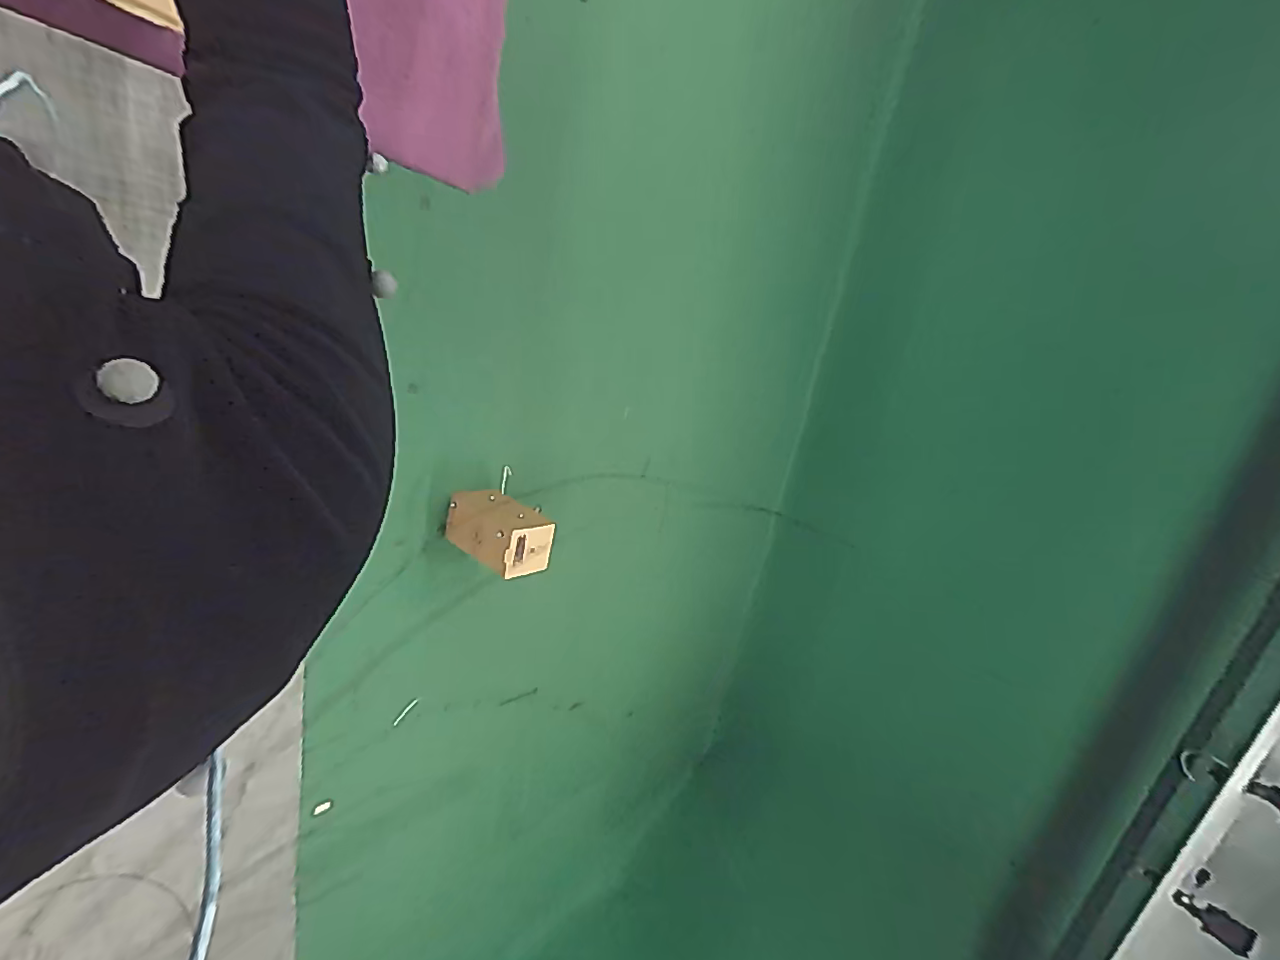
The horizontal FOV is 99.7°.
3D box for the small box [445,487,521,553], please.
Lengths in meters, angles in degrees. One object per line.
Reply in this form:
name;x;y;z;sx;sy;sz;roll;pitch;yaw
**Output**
small box;-0.538;0.129;1.837;0.179;0.176;0.168;-5;114;-52
